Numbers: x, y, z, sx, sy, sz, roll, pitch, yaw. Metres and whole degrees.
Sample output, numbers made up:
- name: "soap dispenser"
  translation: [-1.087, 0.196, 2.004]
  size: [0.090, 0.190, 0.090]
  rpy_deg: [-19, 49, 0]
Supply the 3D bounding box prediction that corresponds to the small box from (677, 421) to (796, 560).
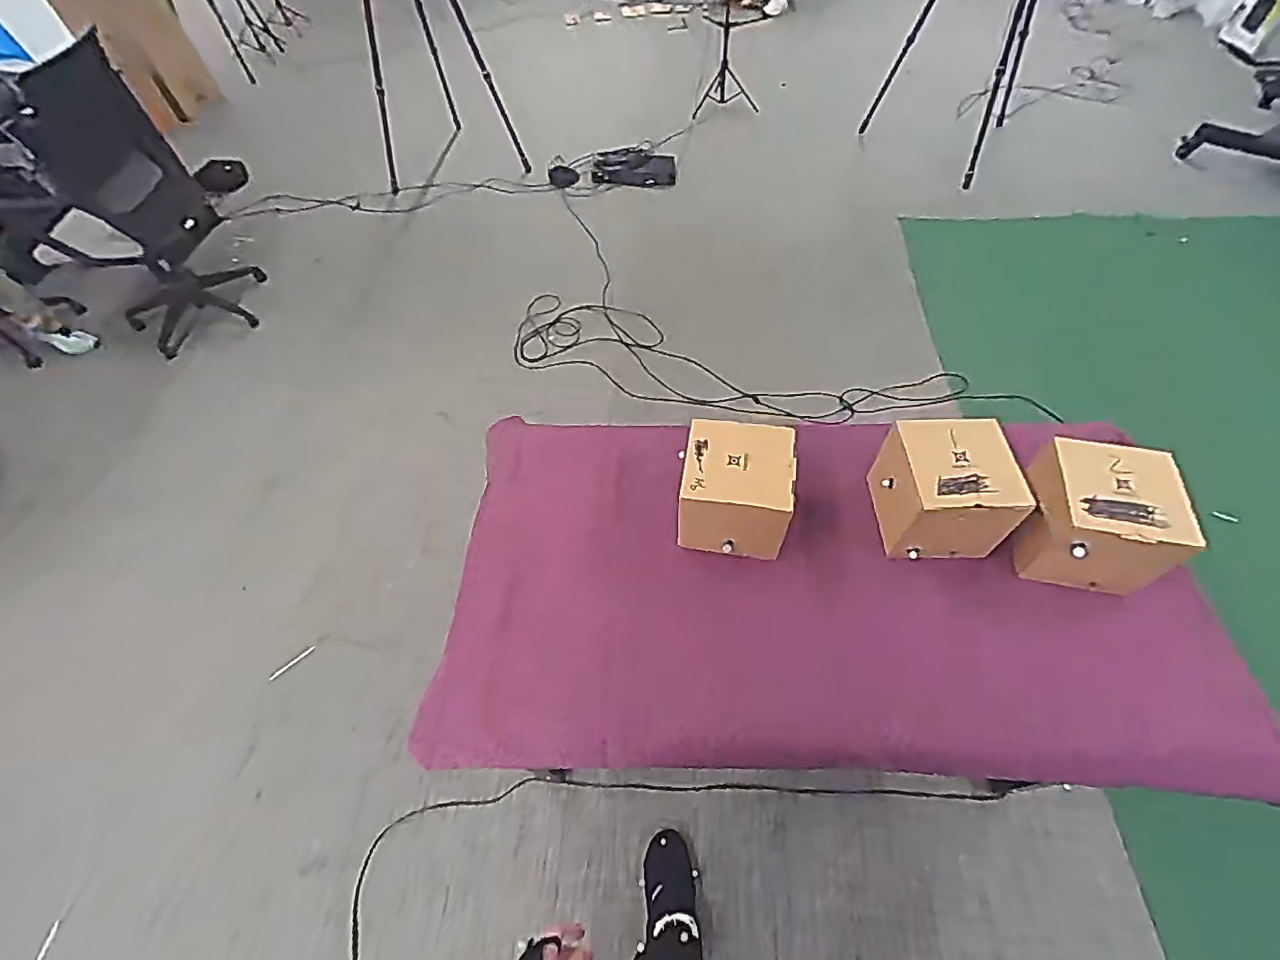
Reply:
- name: "small box"
  translation: [0.163, 0.023, 0.933]
  size: [0.179, 0.176, 0.168]
  rpy_deg: [8, 56, 8]
